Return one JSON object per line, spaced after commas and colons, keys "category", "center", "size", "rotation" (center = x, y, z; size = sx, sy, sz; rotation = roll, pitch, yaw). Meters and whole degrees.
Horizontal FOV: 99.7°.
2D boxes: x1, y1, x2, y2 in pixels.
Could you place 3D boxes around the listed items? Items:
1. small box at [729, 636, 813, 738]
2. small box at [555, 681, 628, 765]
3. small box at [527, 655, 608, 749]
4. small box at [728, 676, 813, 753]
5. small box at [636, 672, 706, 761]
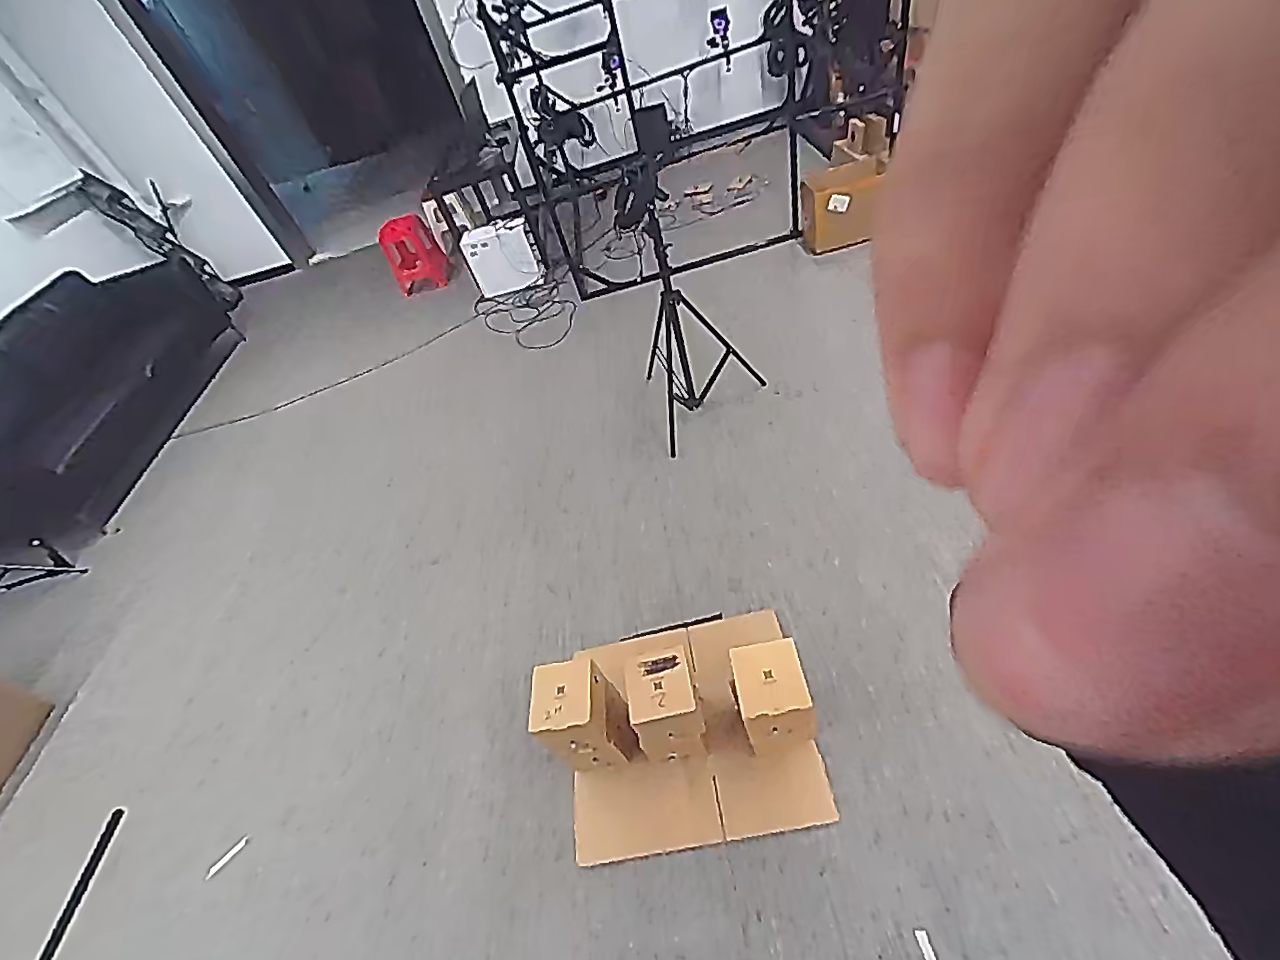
{"category": "small box", "center": [0.326, 0.519, 1.352], "size": [0.168, 0.176, 0.179], "rotation": [-13, 47, 6]}
{"category": "small box", "center": [-0.136, 0.708, 1.561], "size": [0.168, 0.176, 0.179], "rotation": [-13, 47, 8]}
{"category": "small box", "center": [-0.187, 0.597, 1.450], "size": [0.168, 0.176, 0.179], "rotation": [-12, 46, 9]}
{"category": "small box", "center": [0.359, 0.619, 1.477], "size": [0.179, 0.176, 0.168], "rotation": [-20, 46, -1]}
{"category": "small box", "center": [0.088, 0.667, 1.524], "size": [0.168, 0.176, 0.179], "rotation": [-11, 46, 8]}
